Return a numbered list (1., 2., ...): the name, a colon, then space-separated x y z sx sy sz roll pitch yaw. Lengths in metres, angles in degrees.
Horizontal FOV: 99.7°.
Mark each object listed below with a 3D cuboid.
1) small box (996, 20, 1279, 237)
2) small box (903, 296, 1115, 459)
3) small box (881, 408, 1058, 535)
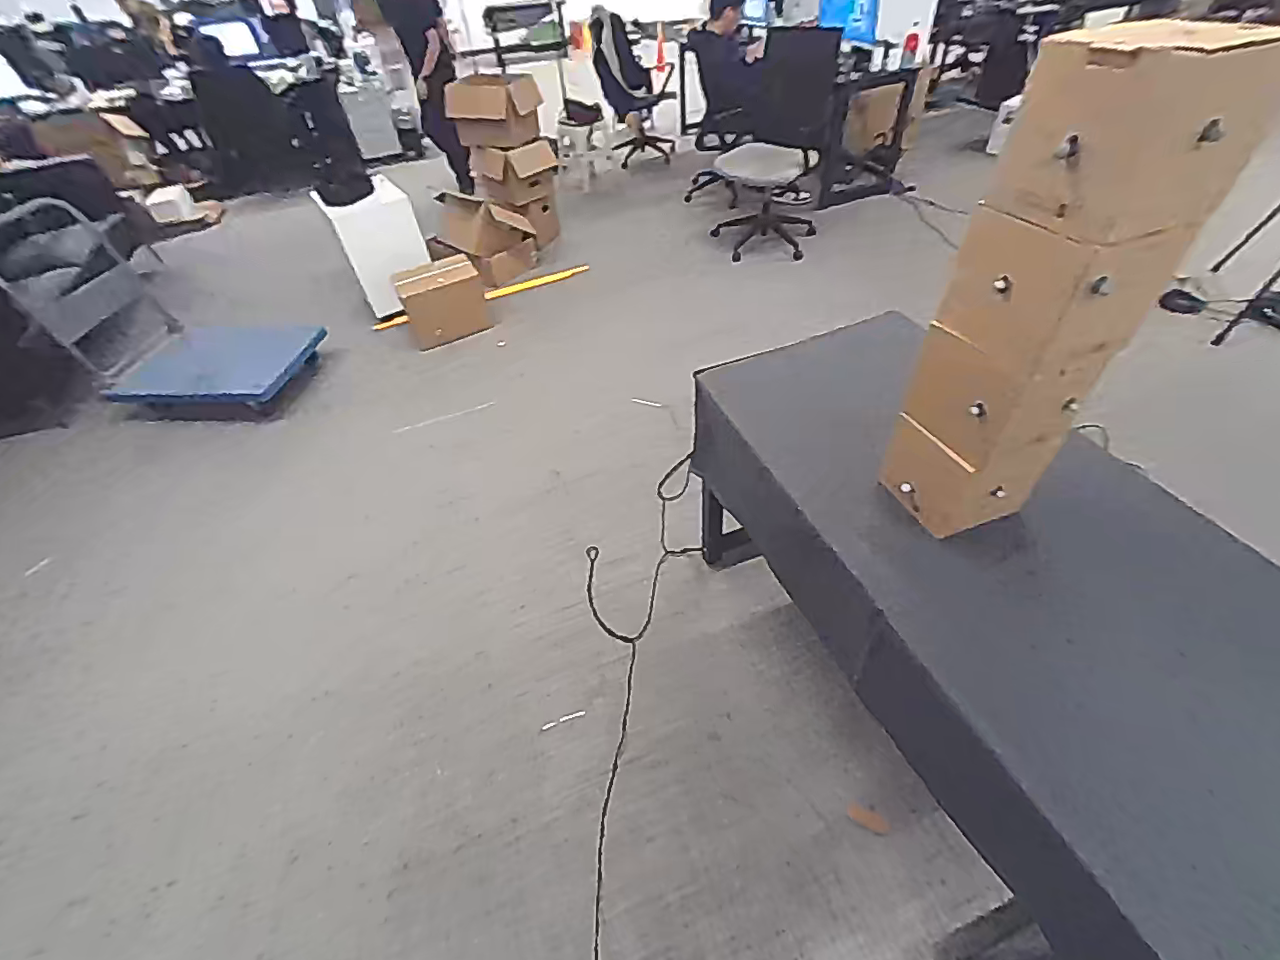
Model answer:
1. small box: 0.540 -0.389 0.601 0.179 0.176 0.168 -18 46 -12
2. small box: 0.544 -0.151 0.827 0.168 0.176 0.179 -18 46 -13
3. small box: 0.554 -0.034 0.939 0.179 0.176 0.168 -17 46 -10
